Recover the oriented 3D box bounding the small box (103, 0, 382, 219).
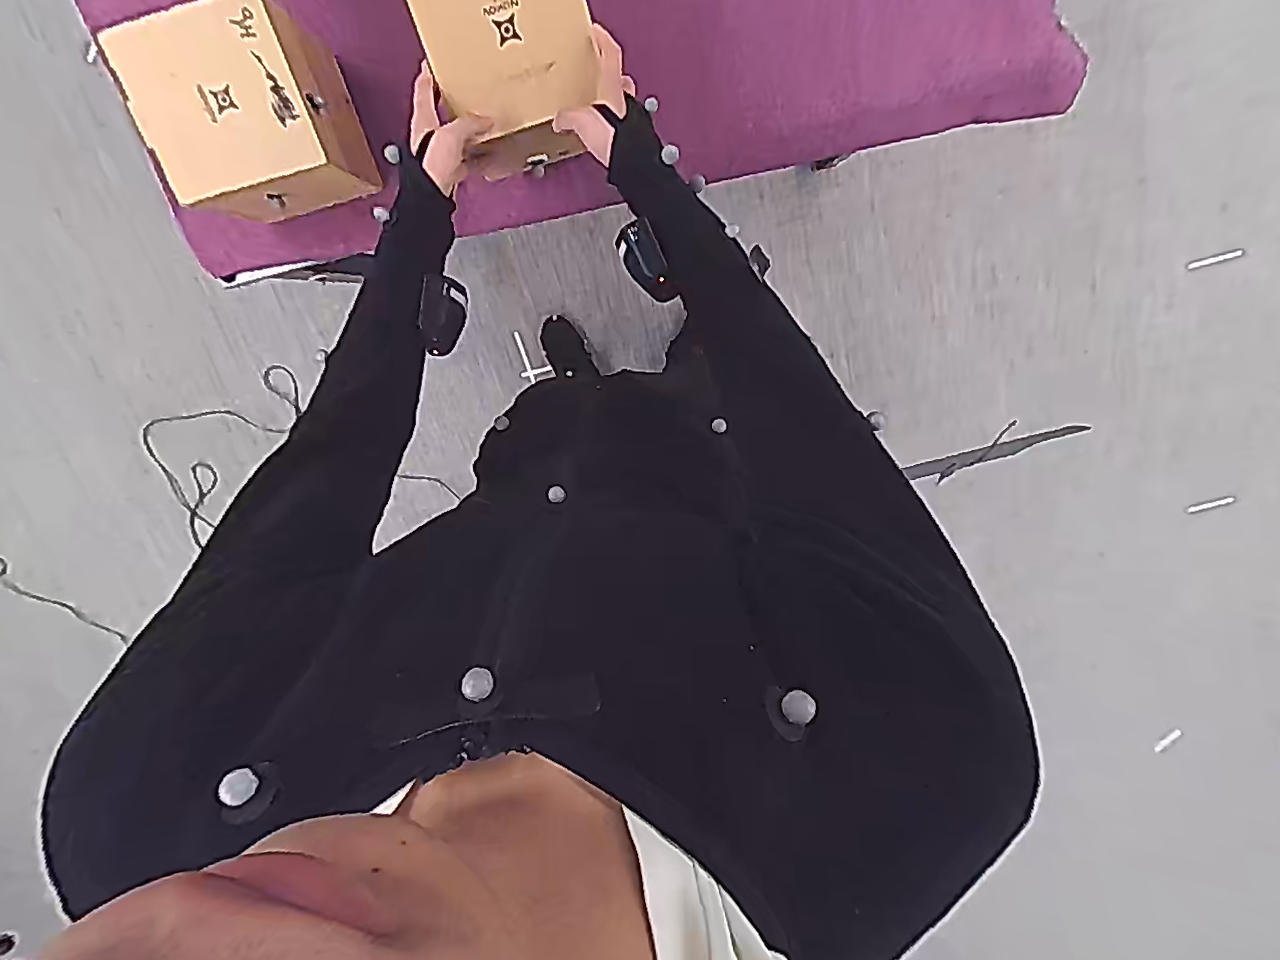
[{"bbox_3d":[-0.451,-0.429,0.649,0.179,0.176,0.168,-15,109,2],"label":"small box"}]

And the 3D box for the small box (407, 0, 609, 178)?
[{"bbox_3d":[-0.139,-0.467,0.601,0.168,0.176,0.179,-17,109,2],"label":"small box"}]
